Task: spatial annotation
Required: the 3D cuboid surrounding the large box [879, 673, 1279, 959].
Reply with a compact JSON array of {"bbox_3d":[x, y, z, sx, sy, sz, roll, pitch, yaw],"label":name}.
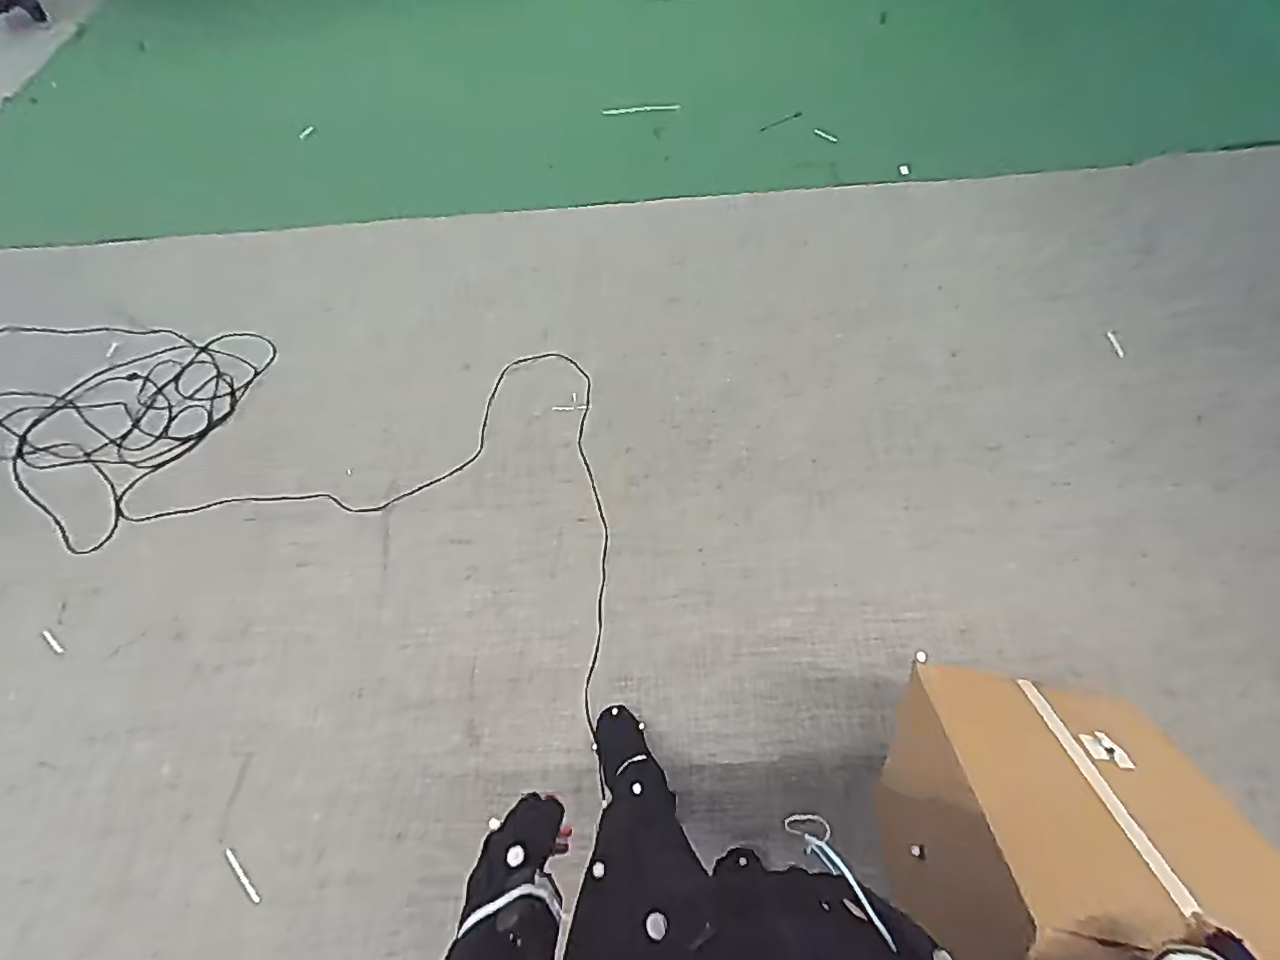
[{"bbox_3d":[0.543,0.527,0.704,0.320,0.408,0.320,9,108,8],"label":"large box"}]
